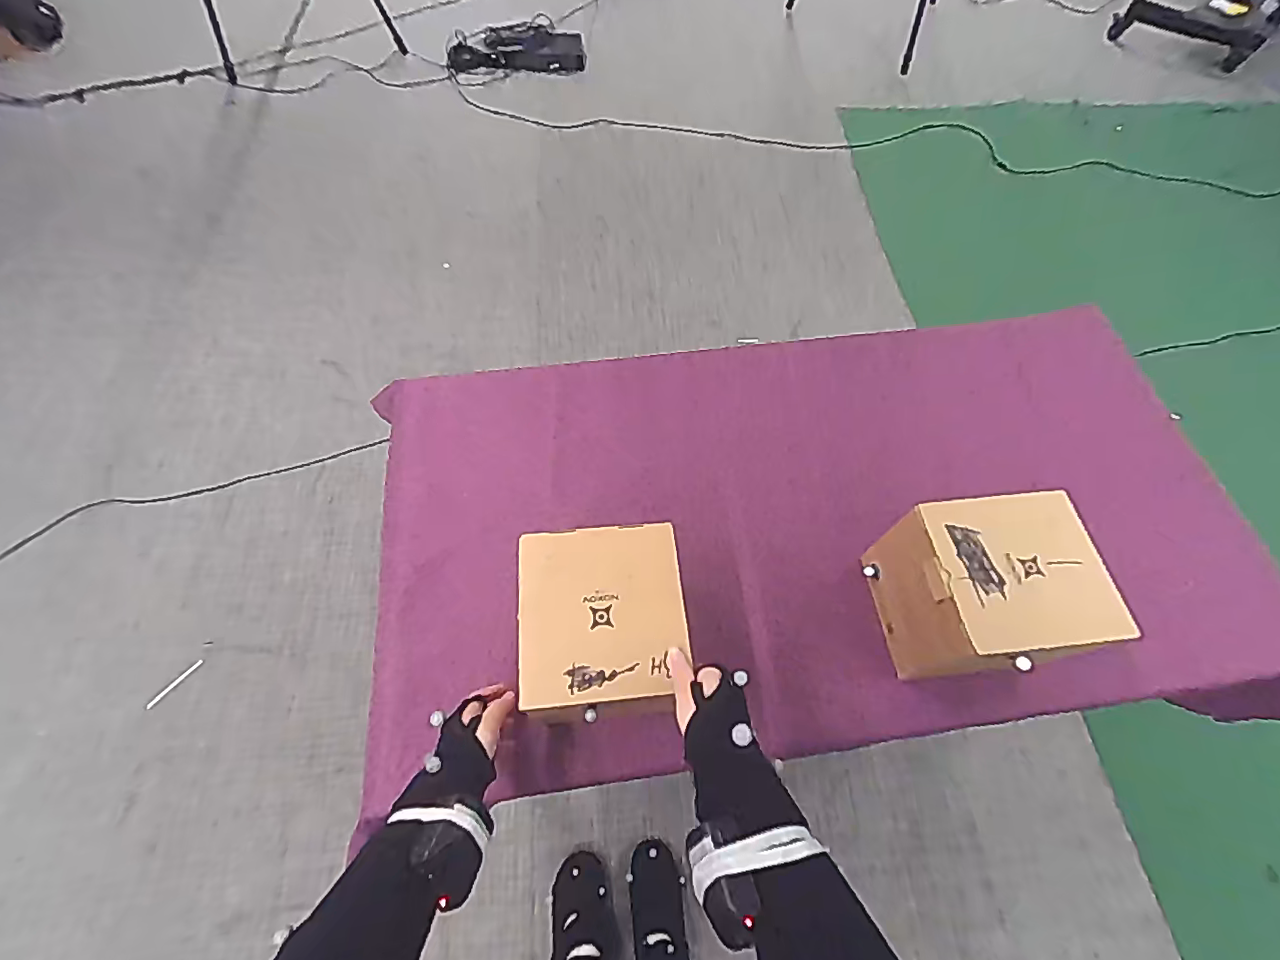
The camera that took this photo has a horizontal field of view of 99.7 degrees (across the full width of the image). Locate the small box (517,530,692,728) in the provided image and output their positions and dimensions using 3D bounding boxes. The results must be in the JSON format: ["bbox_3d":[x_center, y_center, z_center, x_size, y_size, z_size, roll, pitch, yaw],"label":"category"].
[{"bbox_3d":[-0.039,0.172,0.609,0.168,0.176,0.179,-4,62,-3],"label":"small box"}]

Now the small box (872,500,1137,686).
[{"bbox_3d":[0.394,0.138,0.632,0.179,0.176,0.168,-4,62,-4],"label":"small box"}]
